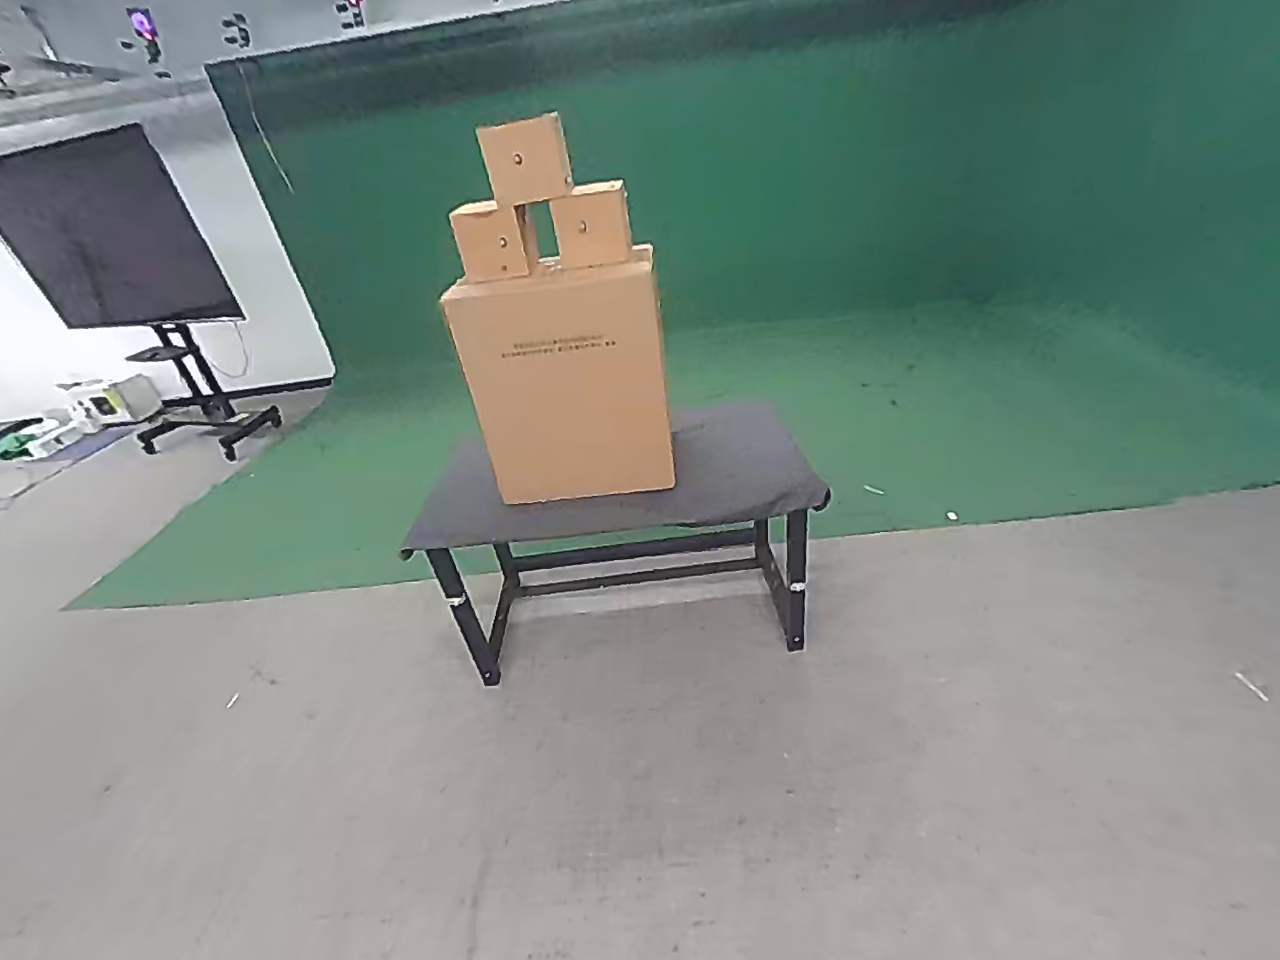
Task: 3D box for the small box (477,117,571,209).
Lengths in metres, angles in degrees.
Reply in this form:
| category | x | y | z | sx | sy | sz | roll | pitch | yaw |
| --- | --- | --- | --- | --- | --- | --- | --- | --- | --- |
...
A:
| category | x | y | z | sx | sy | sz | roll | pitch | yaw |
| --- | --- | --- | --- | --- | --- | --- | --- | --- | --- |
| small box | -0.274 | -0.776 | 1.324 | 0.179 | 0.176 | 0.168 | -7 | 33 | 4 |

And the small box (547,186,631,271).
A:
| category | x | y | z | sx | sy | sz | roll | pitch | yaw |
| --- | --- | --- | --- | --- | --- | --- | --- | --- | --- |
| small box | -0.125 | -0.653 | 1.406 | 0.179 | 0.176 | 0.168 | -6 | 34 | 5 |

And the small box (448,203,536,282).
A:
| category | x | y | z | sx | sy | sz | roll | pitch | yaw |
| --- | --- | --- | --- | --- | --- | --- | --- | --- | --- |
| small box | -0.380 | -0.627 | 1.424 | 0.168 | 0.176 | 0.179 | -5 | 32 | 3 |
